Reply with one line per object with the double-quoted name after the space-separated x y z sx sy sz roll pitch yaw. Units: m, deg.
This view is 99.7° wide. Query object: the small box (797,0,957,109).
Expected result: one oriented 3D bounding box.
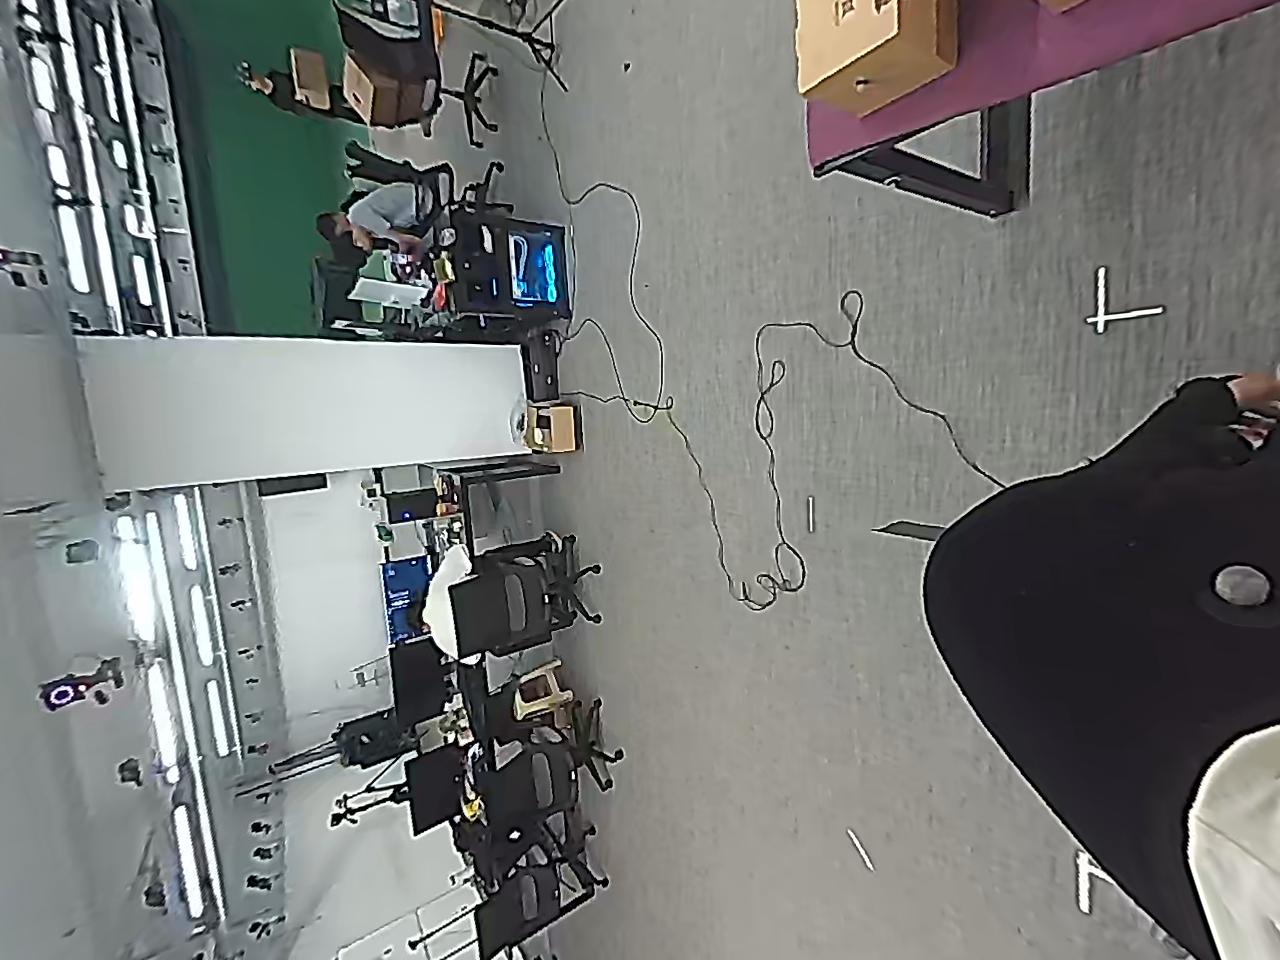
0.373 -0.728 0.859 0.179 0.176 0.168 9 105 56 "small box"
